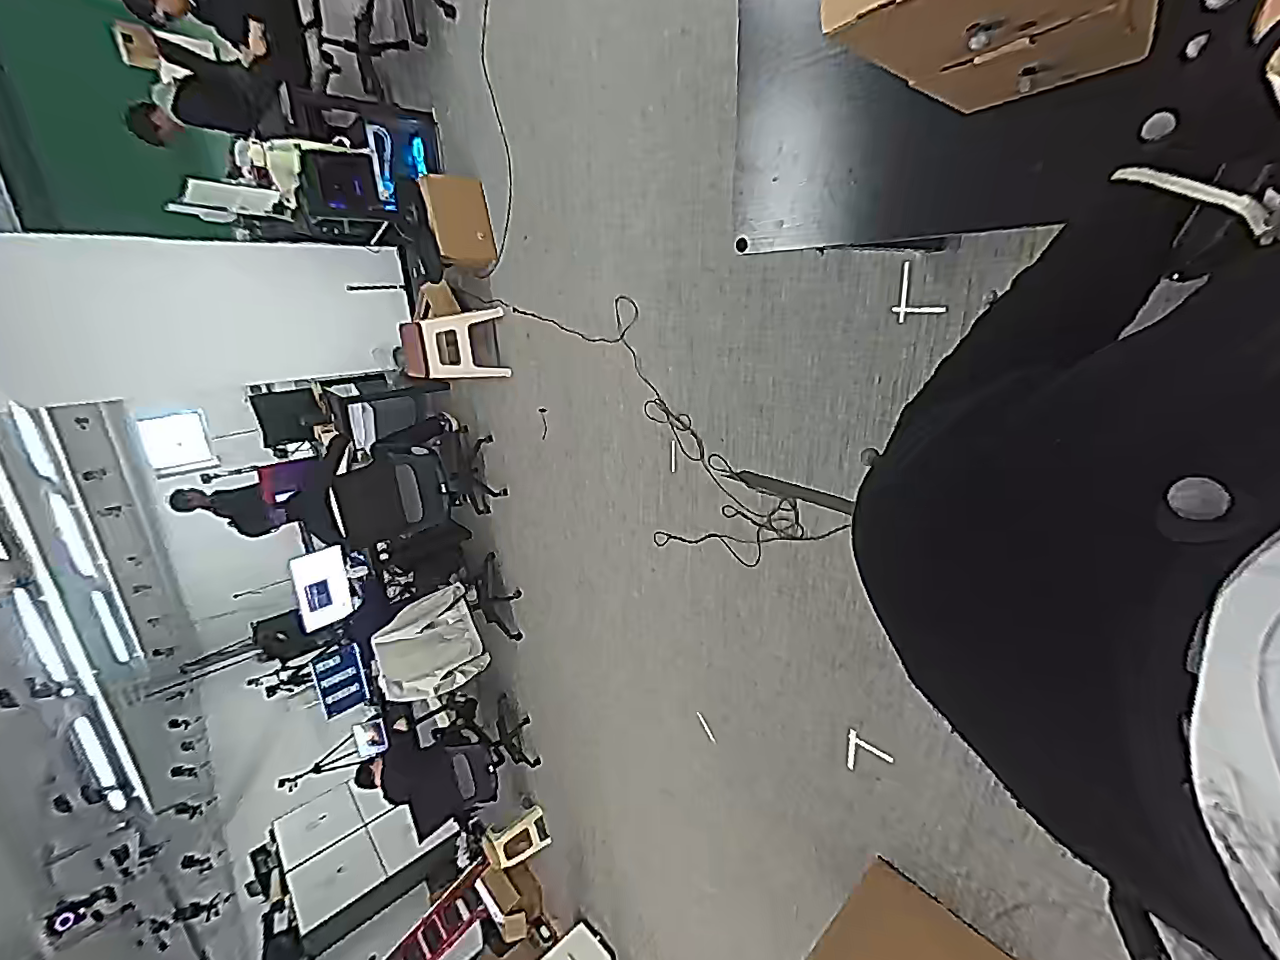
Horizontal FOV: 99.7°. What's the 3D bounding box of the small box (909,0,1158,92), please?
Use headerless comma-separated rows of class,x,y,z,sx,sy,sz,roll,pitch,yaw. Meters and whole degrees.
small box,0.379,-0.499,0.513,0.168,0.176,0.179,13,115,48

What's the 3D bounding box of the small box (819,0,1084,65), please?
small box,0.254,-0.462,0.409,0.168,0.176,0.179,12,113,49
